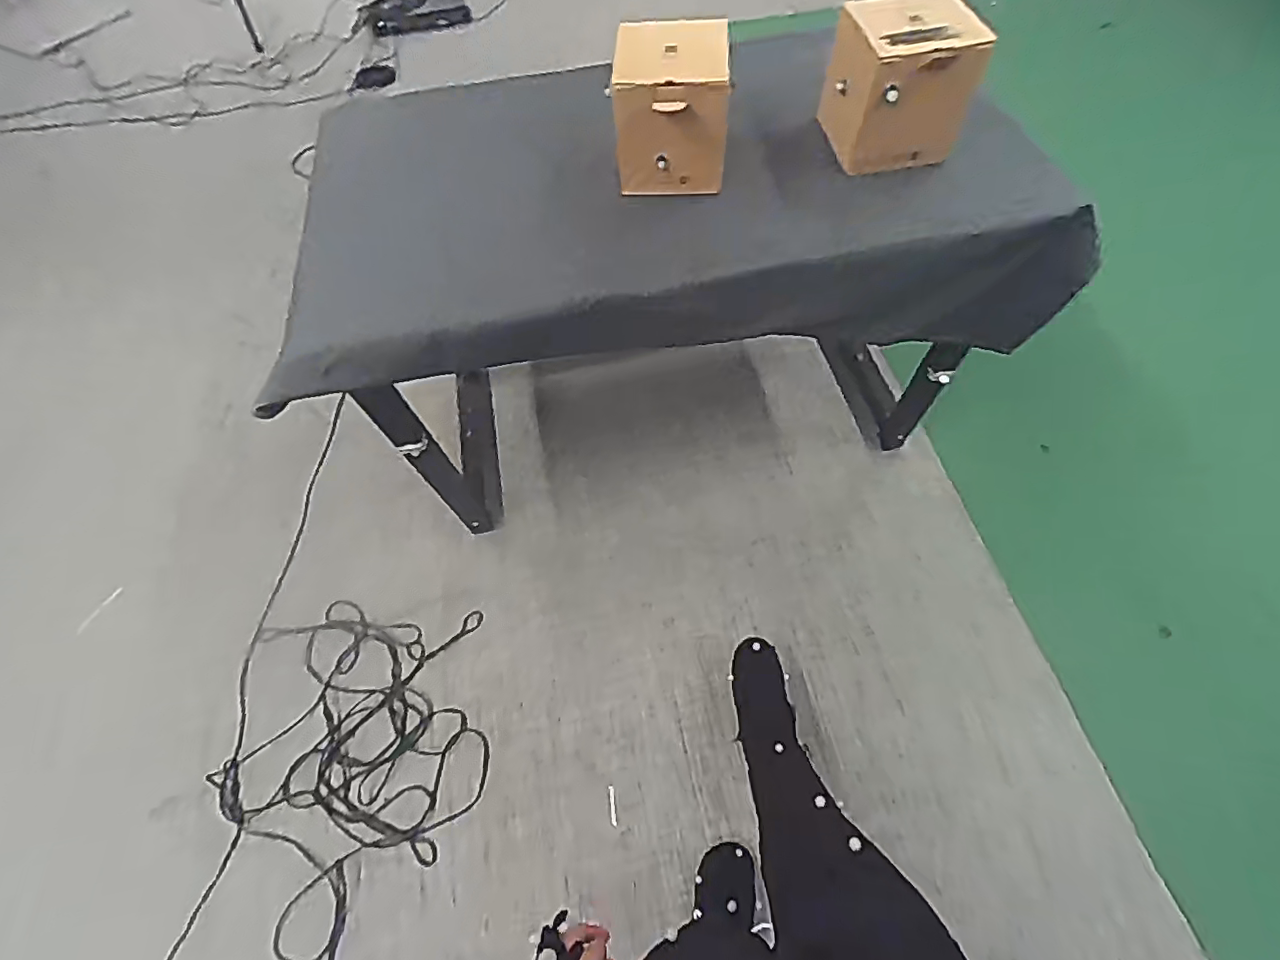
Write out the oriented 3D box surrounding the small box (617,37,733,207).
[{"bbox_3d":[0.057,-0.569,0.865,0.168,0.176,0.179,1,62,4],"label":"small box"}]
